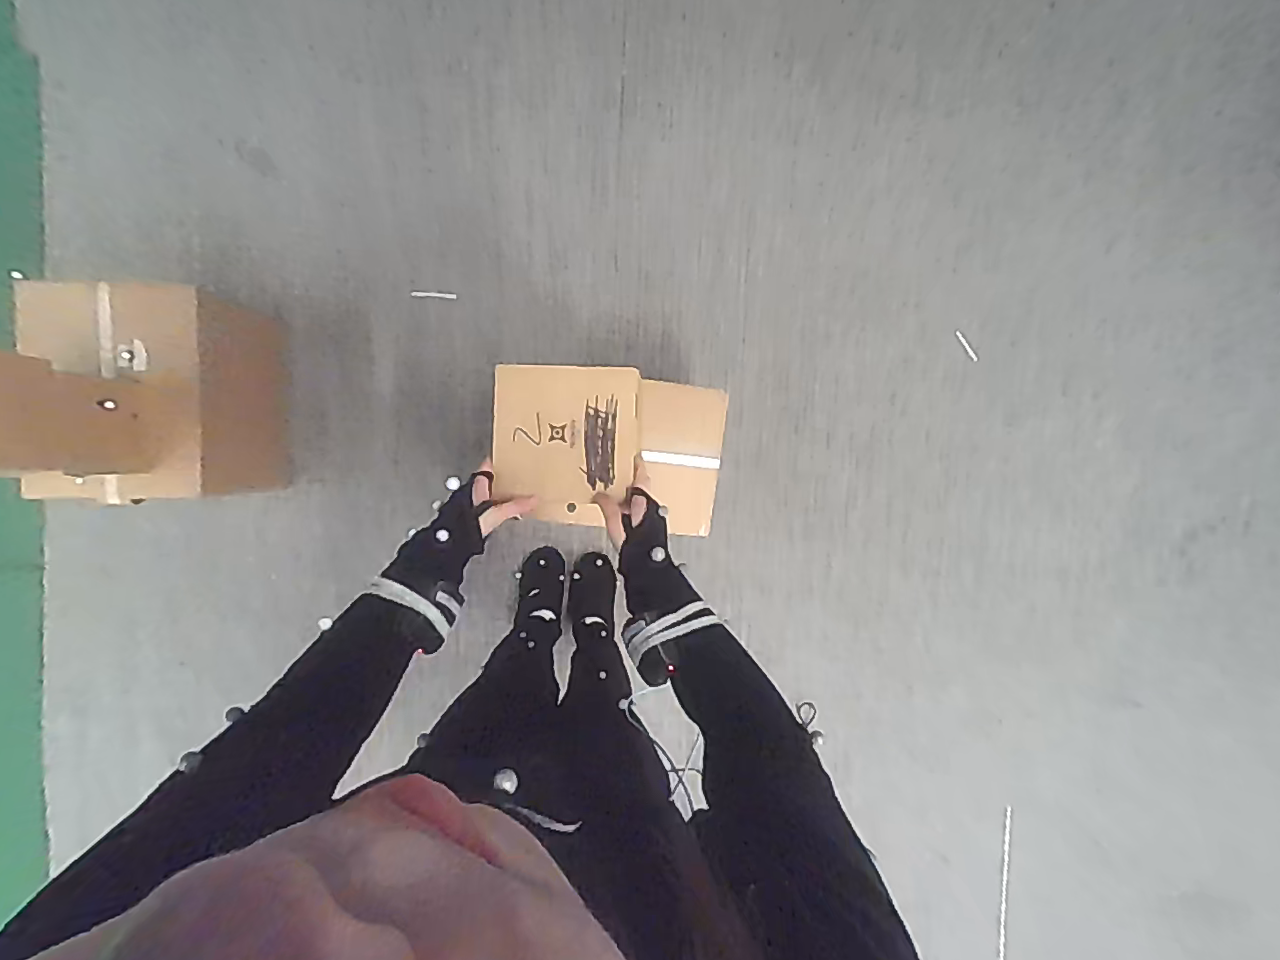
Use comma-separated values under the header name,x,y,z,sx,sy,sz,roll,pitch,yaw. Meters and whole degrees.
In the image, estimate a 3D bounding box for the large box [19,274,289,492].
name,x,y,z,sx,sy,sz,roll,pitch,yaw
large box,-0.995,-0.182,1.154,0.320,0.320,0.408,1,92,-6

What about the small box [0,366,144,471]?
name,x,y,z,sx,sy,sz,roll,pitch,yaw
small box,-0.989,-0.100,0.913,0.179,0.176,0.168,-1,92,-5

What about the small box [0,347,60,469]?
name,x,y,z,sx,sy,sz,roll,pitch,yaw
small box,-0.973,-0.099,0.750,0.168,0.176,0.179,-5,92,-6

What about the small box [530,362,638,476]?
name,x,y,z,sx,sy,sz,roll,pitch,yaw
small box,-0.102,-0.105,1.001,0.168,0.176,0.179,7,90,-6
